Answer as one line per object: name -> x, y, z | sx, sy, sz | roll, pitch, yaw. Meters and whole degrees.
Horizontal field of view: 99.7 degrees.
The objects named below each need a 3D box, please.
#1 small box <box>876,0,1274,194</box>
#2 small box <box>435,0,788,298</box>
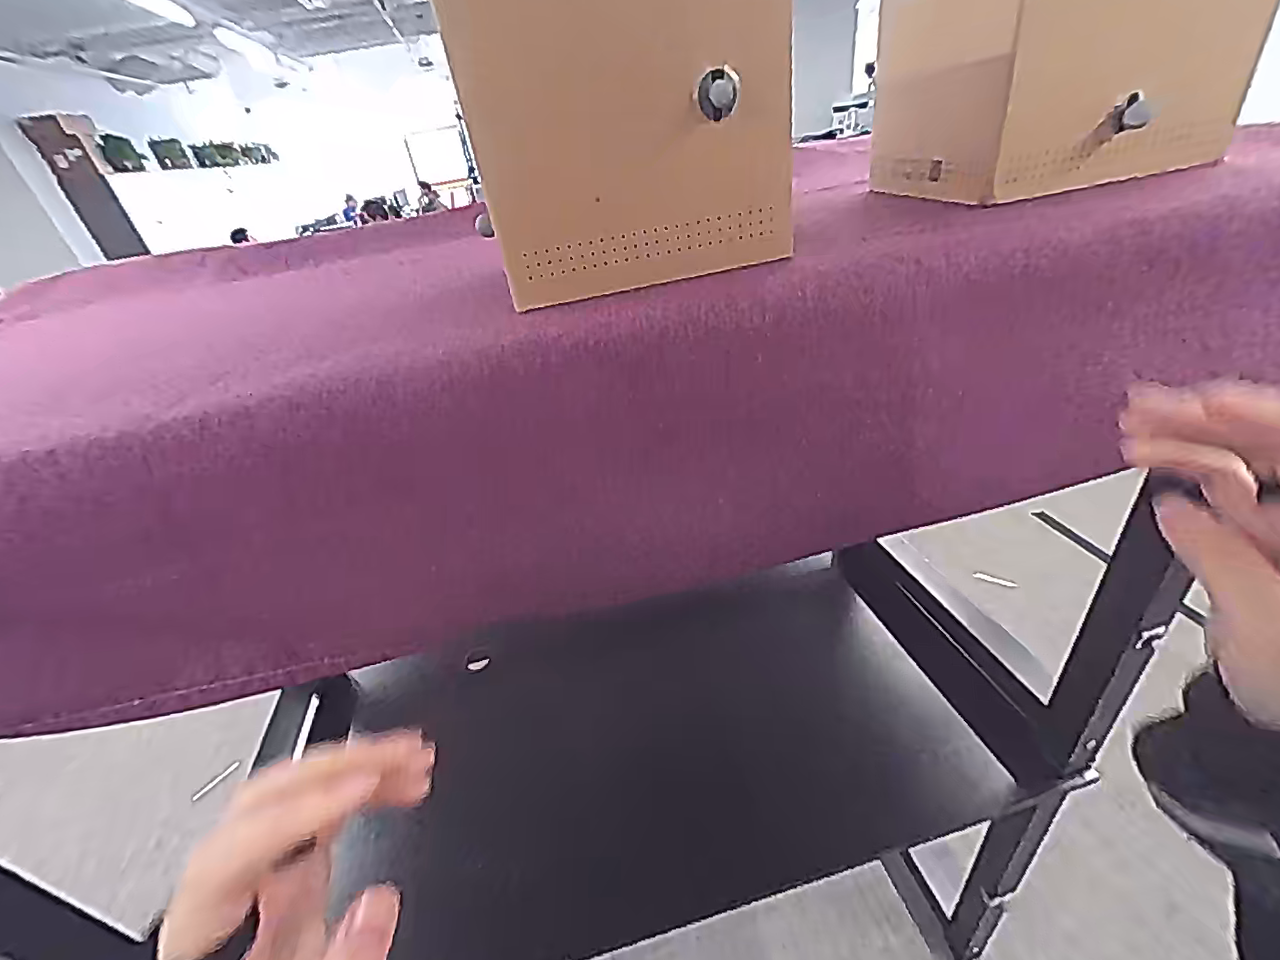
small box -> 0.293, -0.319, 0.389 | 0.179, 0.176, 0.168 | -12, 32, -2
small box -> -0.015, -0.232, 0.348 | 0.179, 0.176, 0.168 | -13, 32, -4
